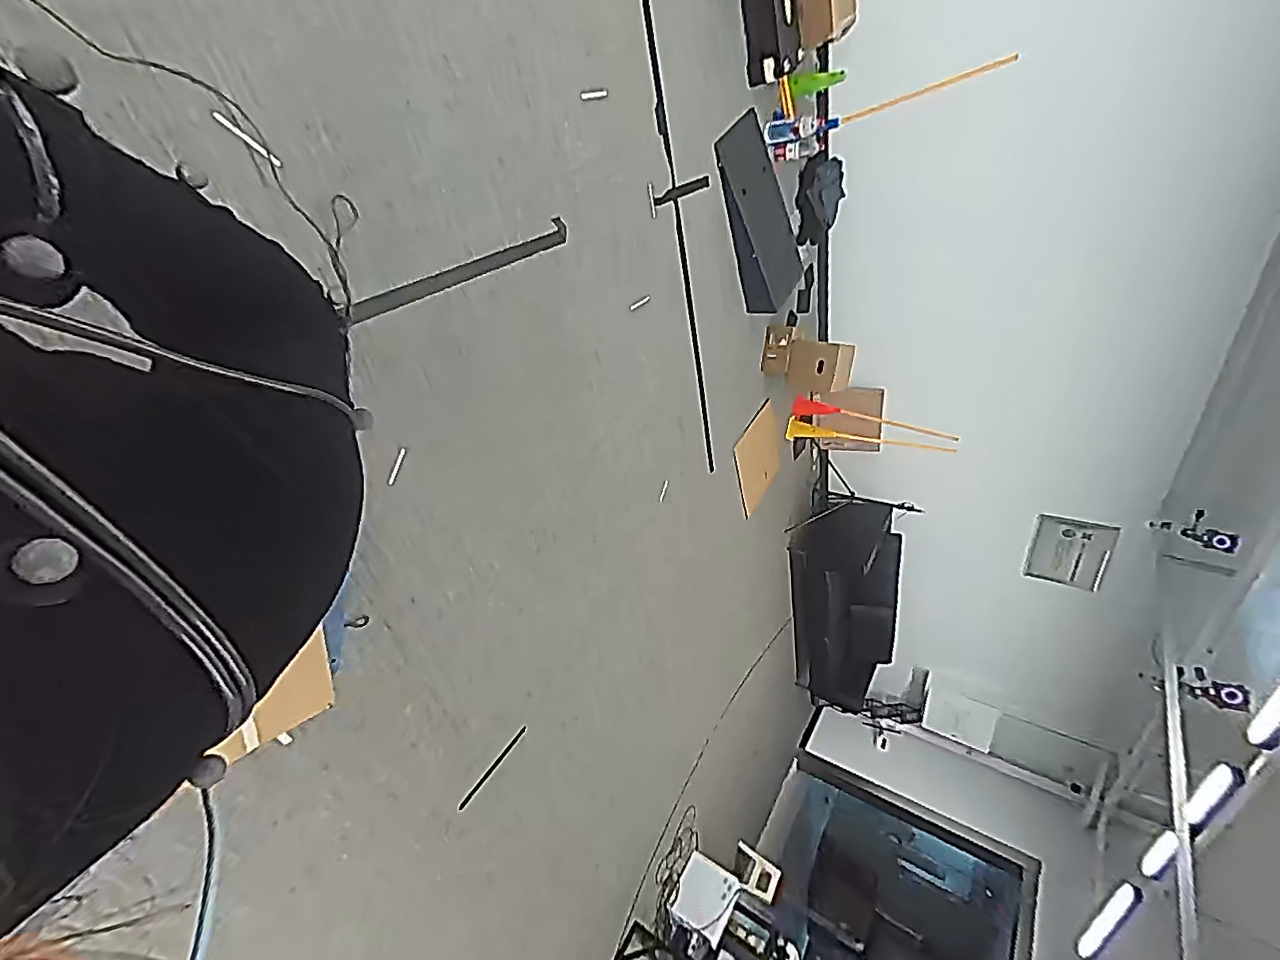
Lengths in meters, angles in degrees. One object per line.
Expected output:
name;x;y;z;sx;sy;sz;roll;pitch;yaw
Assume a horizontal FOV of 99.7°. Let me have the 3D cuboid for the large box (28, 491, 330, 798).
large box;-0.850;0.274;1.025;0.320;0.320;0.408;-21;119;-51
